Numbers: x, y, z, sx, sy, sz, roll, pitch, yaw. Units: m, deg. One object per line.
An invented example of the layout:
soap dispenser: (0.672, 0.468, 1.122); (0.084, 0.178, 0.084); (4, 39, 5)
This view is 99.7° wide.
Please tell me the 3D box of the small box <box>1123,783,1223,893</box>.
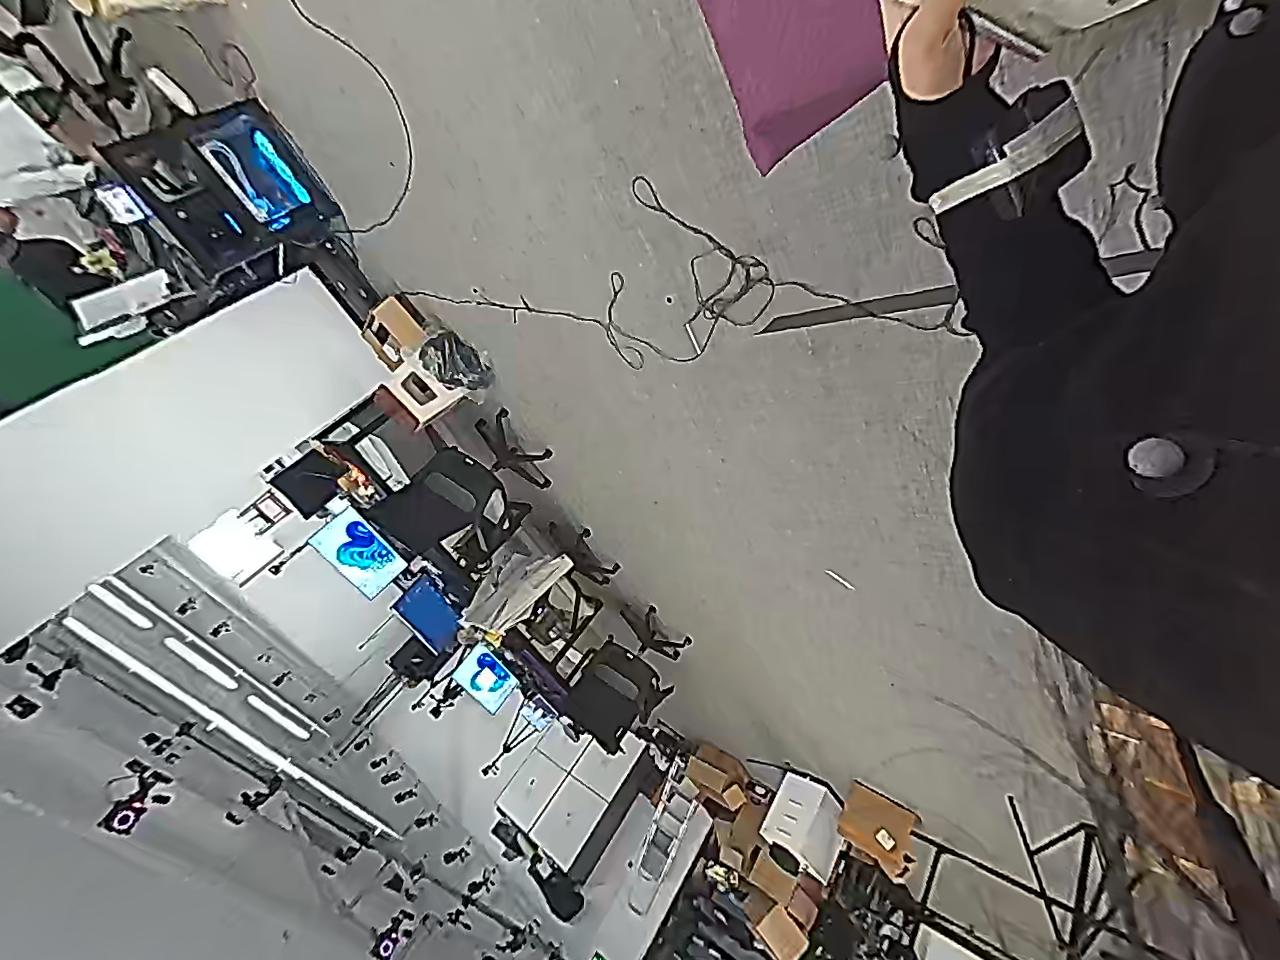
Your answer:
small box: (1.446, 0.961, 1.470); (0.179, 0.176, 0.168); (7, 137, 43)
